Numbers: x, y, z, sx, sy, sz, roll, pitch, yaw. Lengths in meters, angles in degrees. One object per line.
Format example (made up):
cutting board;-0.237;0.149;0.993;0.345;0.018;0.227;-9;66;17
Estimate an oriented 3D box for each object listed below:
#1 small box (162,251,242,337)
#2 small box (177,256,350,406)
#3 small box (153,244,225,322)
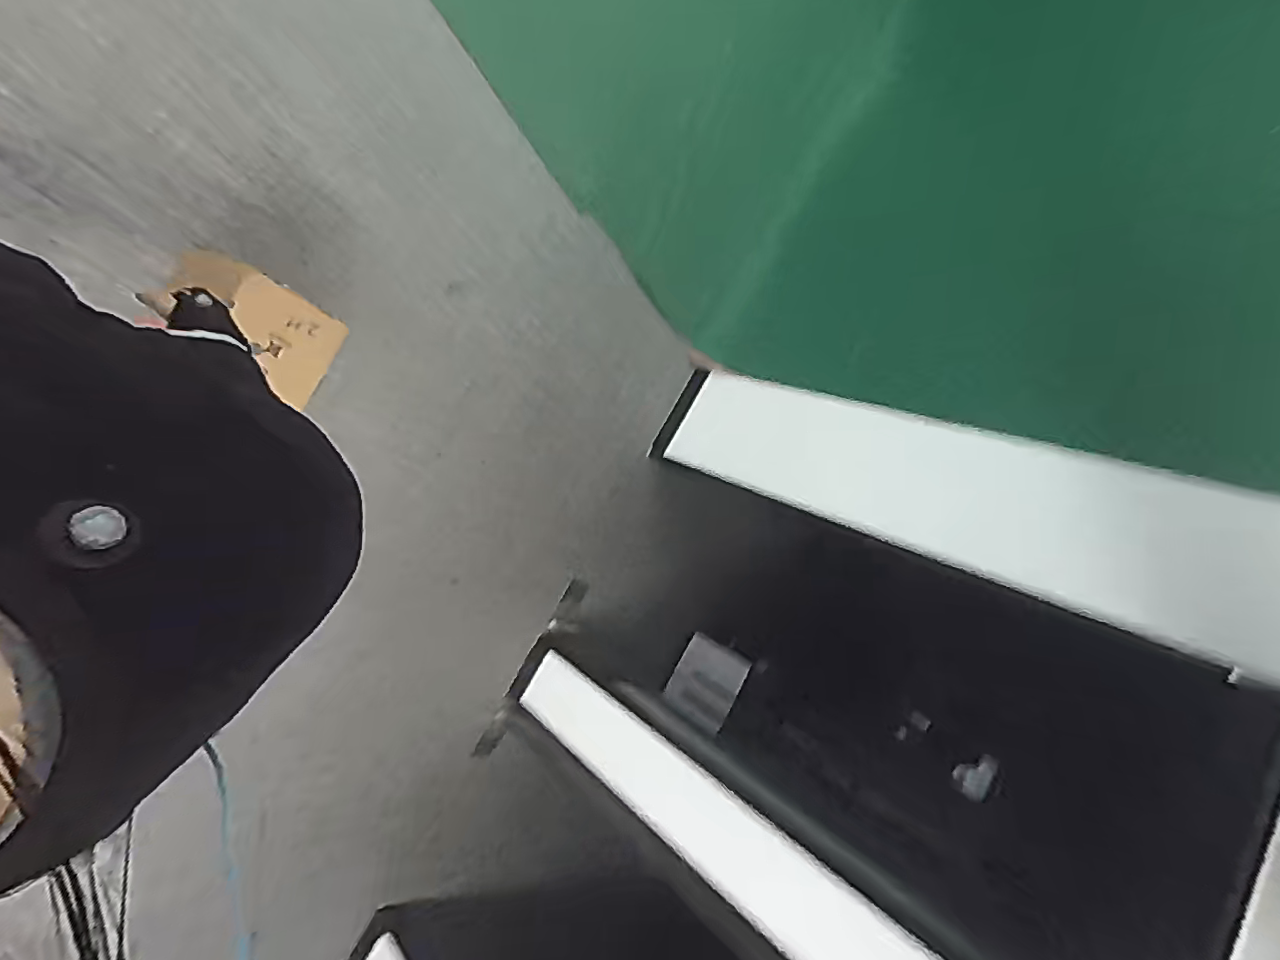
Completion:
small box;-0.757;-0.311;1.022;0.168;0.176;0.179;34;80;-52
small box;-0.642;-0.255;0.919;0.168;0.176;0.179;36;79;-53
small box;-0.872;-0.366;1.128;0.168;0.176;0.179;35;79;-52
